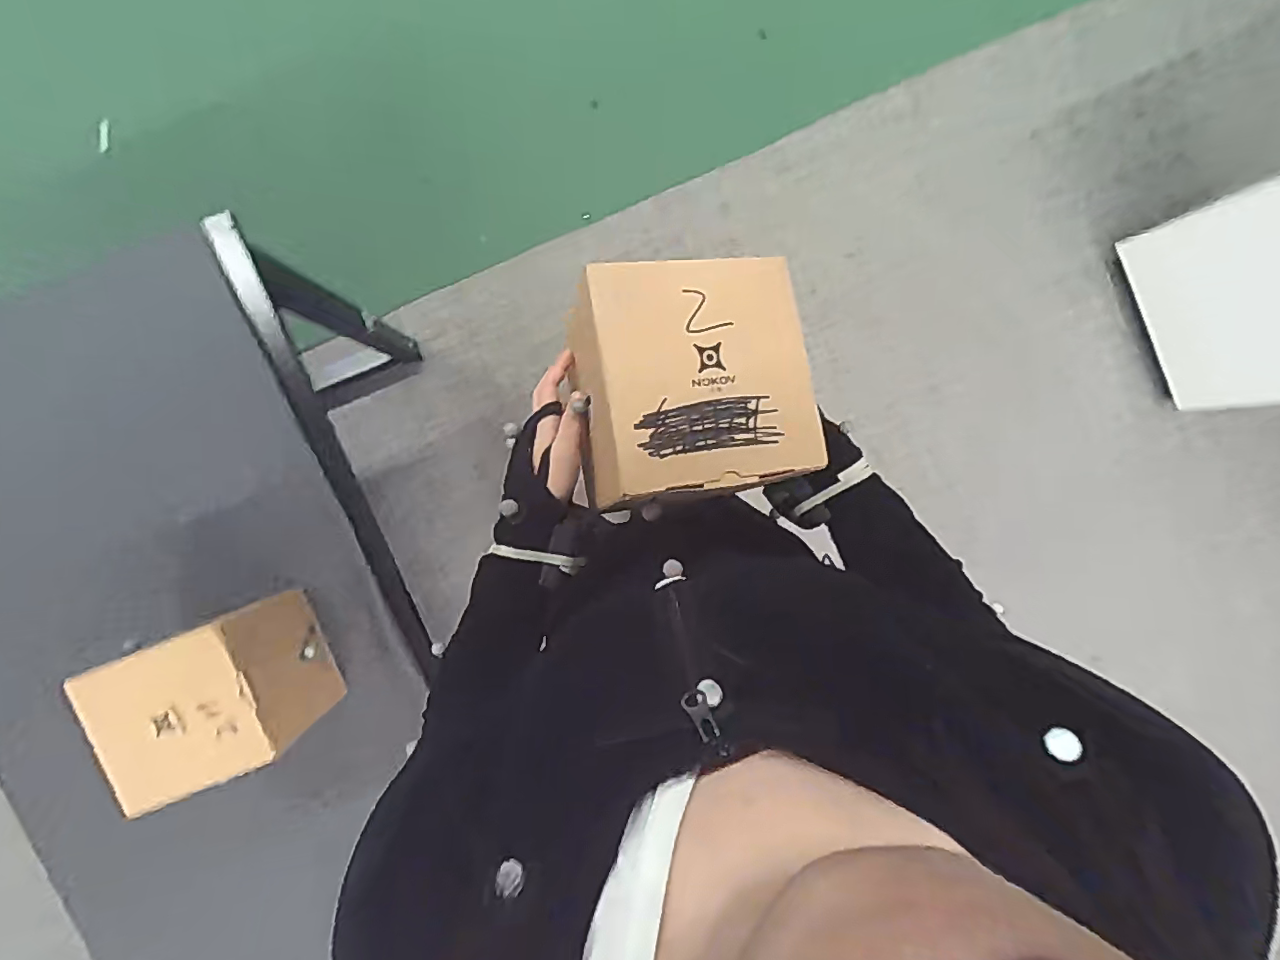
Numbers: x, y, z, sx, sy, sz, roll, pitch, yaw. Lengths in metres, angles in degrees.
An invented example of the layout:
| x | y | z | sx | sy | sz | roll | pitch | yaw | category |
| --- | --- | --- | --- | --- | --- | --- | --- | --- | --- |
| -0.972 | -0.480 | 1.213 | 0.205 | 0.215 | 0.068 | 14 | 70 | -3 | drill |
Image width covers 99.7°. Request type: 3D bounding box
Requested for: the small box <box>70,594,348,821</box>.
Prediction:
| x | y | z | sx | sy | sz | roll | pitch | yaw | category |
| --- | --- | --- | --- | --- | --- | --- | --- | --- | --- |
| -0.505 | 0.262 | 0.664 | 0.179 | 0.176 | 0.168 | -22 | 94 | -2 | small box |
